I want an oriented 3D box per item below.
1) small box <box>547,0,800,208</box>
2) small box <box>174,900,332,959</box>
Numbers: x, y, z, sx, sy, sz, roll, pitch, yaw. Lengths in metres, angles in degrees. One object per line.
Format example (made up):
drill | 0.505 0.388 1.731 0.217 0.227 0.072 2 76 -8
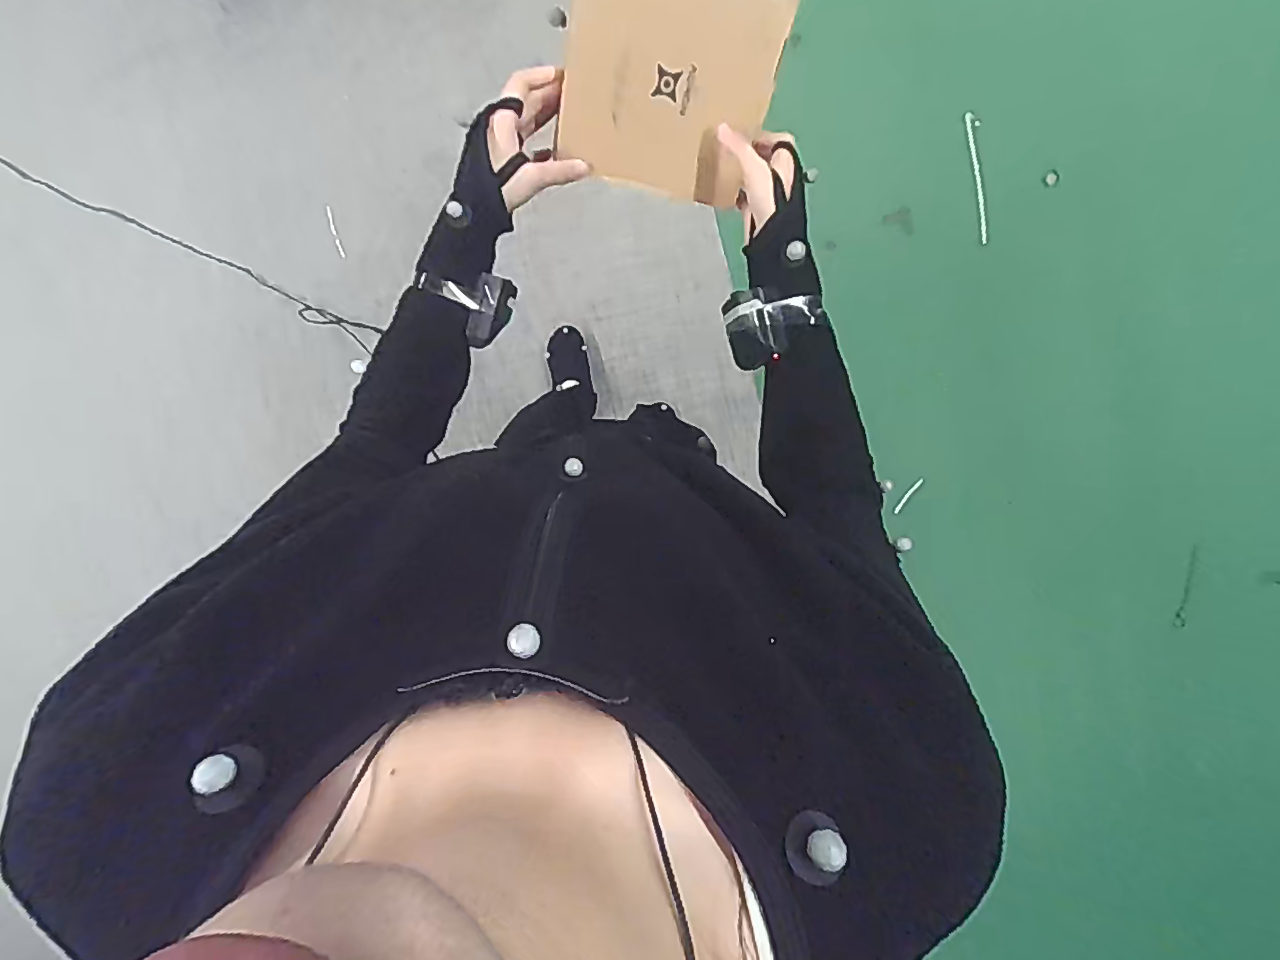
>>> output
small box | 0.012 -0.381 0.504 0.179 0.176 0.168 5 130 -15
small box | -0.603 0.780 0.814 0.179 0.176 0.168 -9 97 3
